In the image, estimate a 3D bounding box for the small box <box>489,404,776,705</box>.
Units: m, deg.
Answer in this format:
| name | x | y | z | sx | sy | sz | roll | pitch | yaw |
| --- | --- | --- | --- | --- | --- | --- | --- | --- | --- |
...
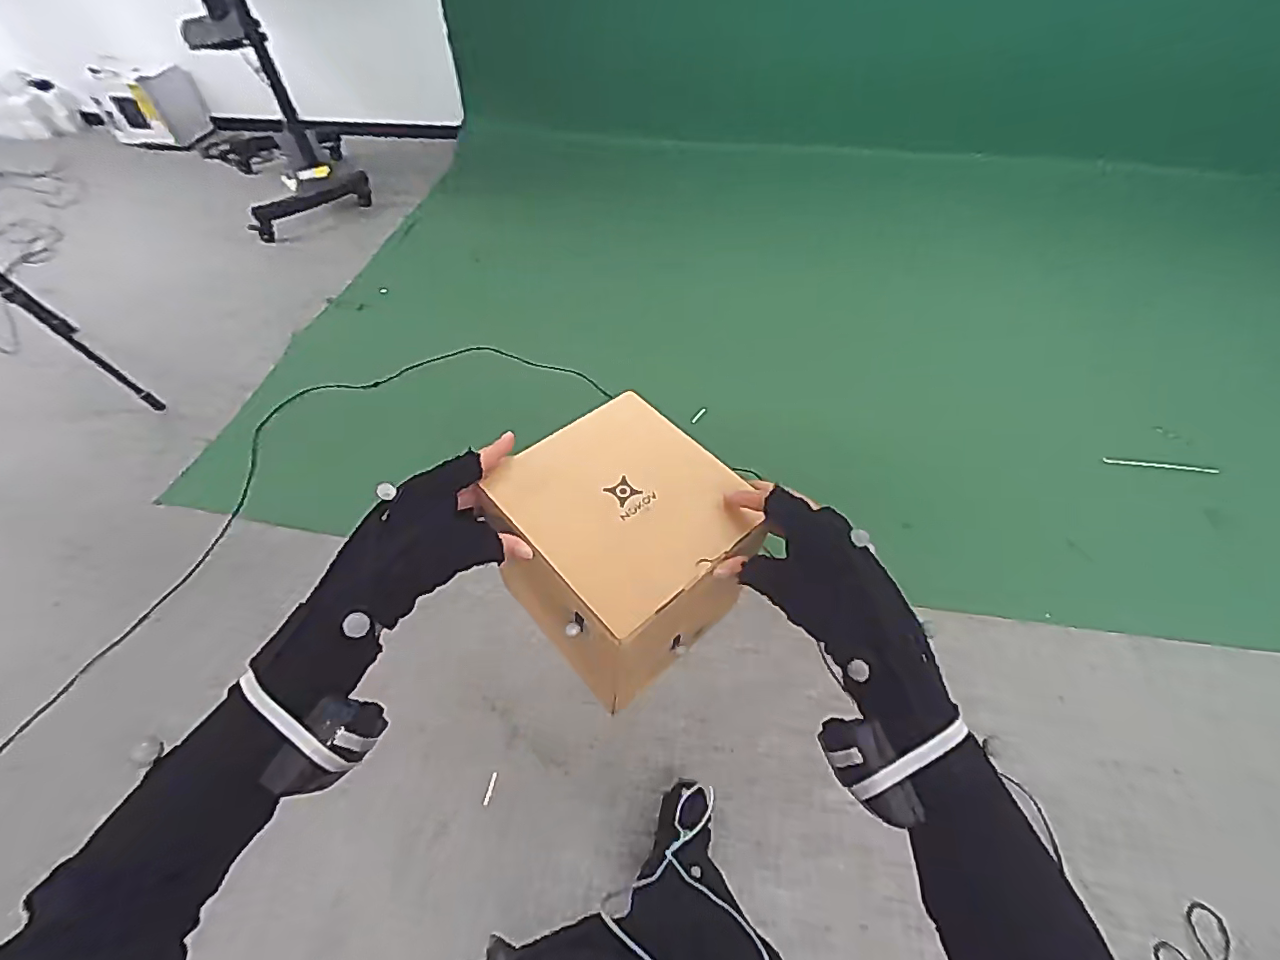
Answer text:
| name | x | y | z | sx | sy | sz | roll | pitch | yaw |
| --- | --- | --- | --- | --- | --- | --- | --- | --- | --- |
| small box | -0.013 | 0.069 | 0.493 | 0.168 | 0.176 | 0.179 | -34 | 61 | -27 |
